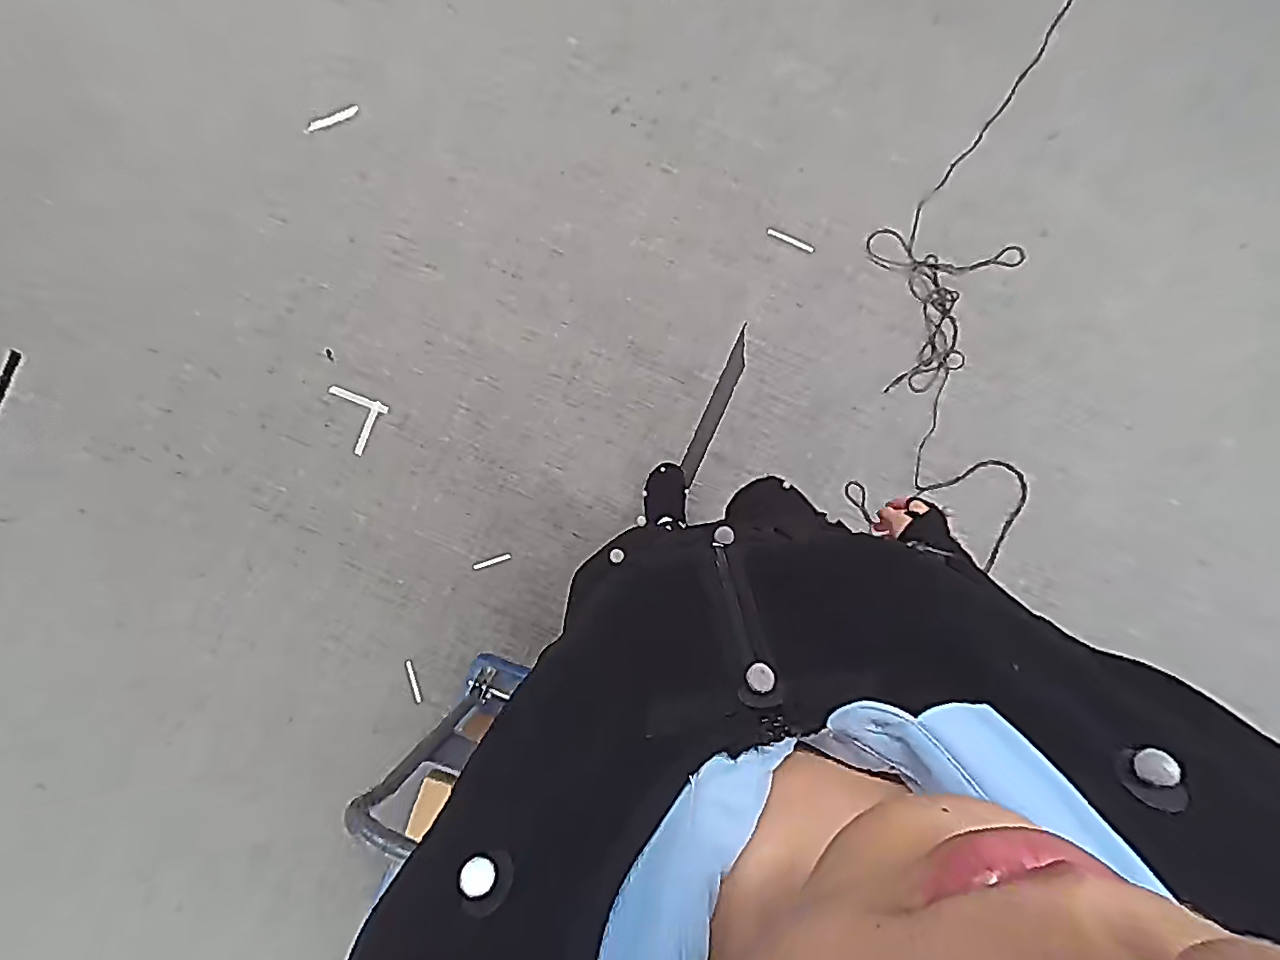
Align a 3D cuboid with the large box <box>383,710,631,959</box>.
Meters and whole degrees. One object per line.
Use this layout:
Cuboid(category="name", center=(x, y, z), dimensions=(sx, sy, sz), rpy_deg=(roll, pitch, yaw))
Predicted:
Cuboid(category="large box", center=(-0.254, 0.759, 1.175), dimensions=(0.408, 0.320, 0.320), rpy_deg=(18, 88, 2))
